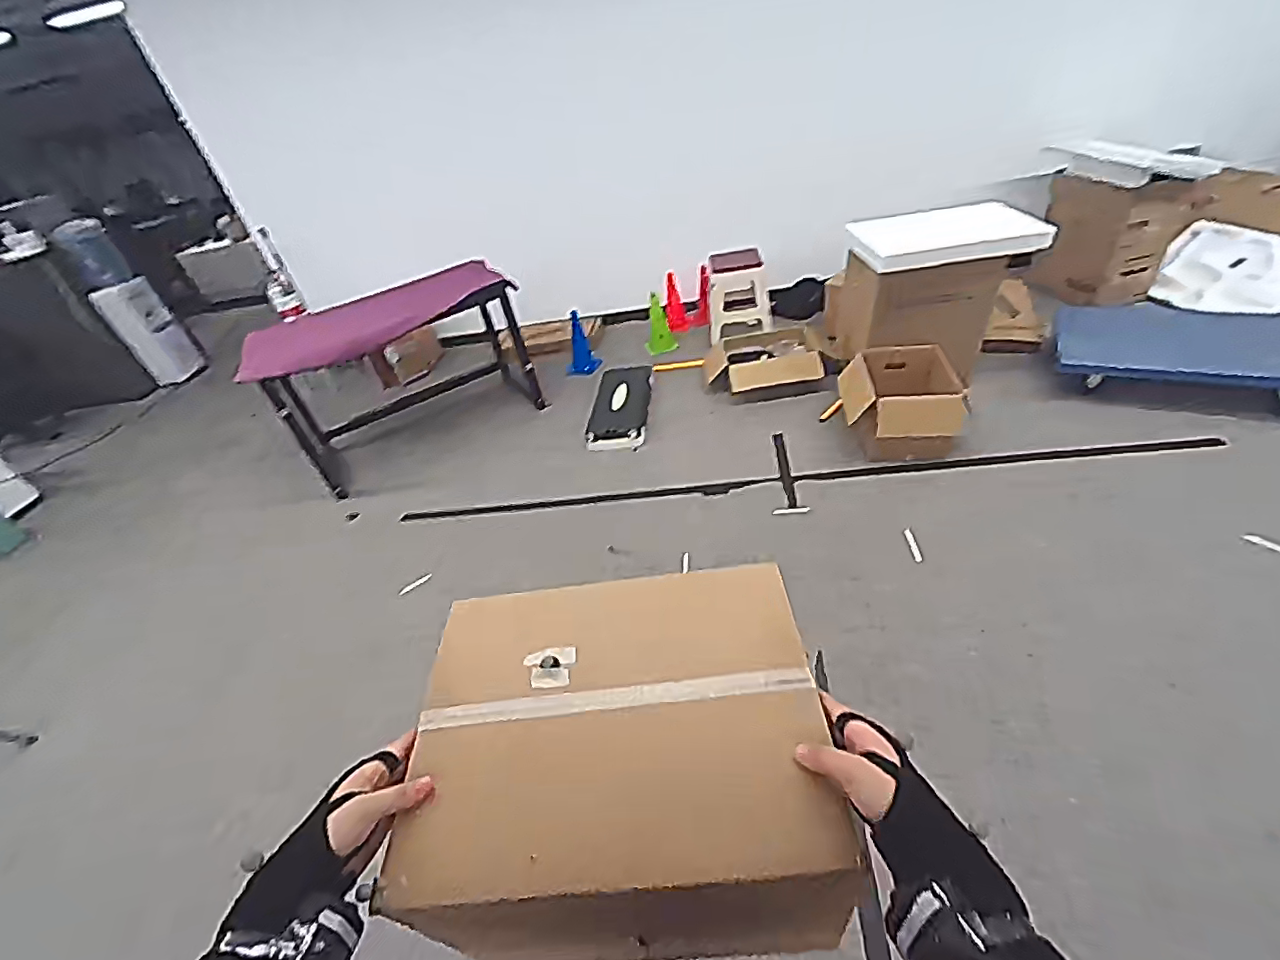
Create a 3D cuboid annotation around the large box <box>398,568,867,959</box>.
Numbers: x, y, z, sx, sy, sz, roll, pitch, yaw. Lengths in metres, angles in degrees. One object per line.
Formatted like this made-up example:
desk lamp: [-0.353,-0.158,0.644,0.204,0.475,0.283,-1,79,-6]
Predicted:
large box: [0.006,0.345,0.654,0.408,0.320,0.320,-8,39,4]
